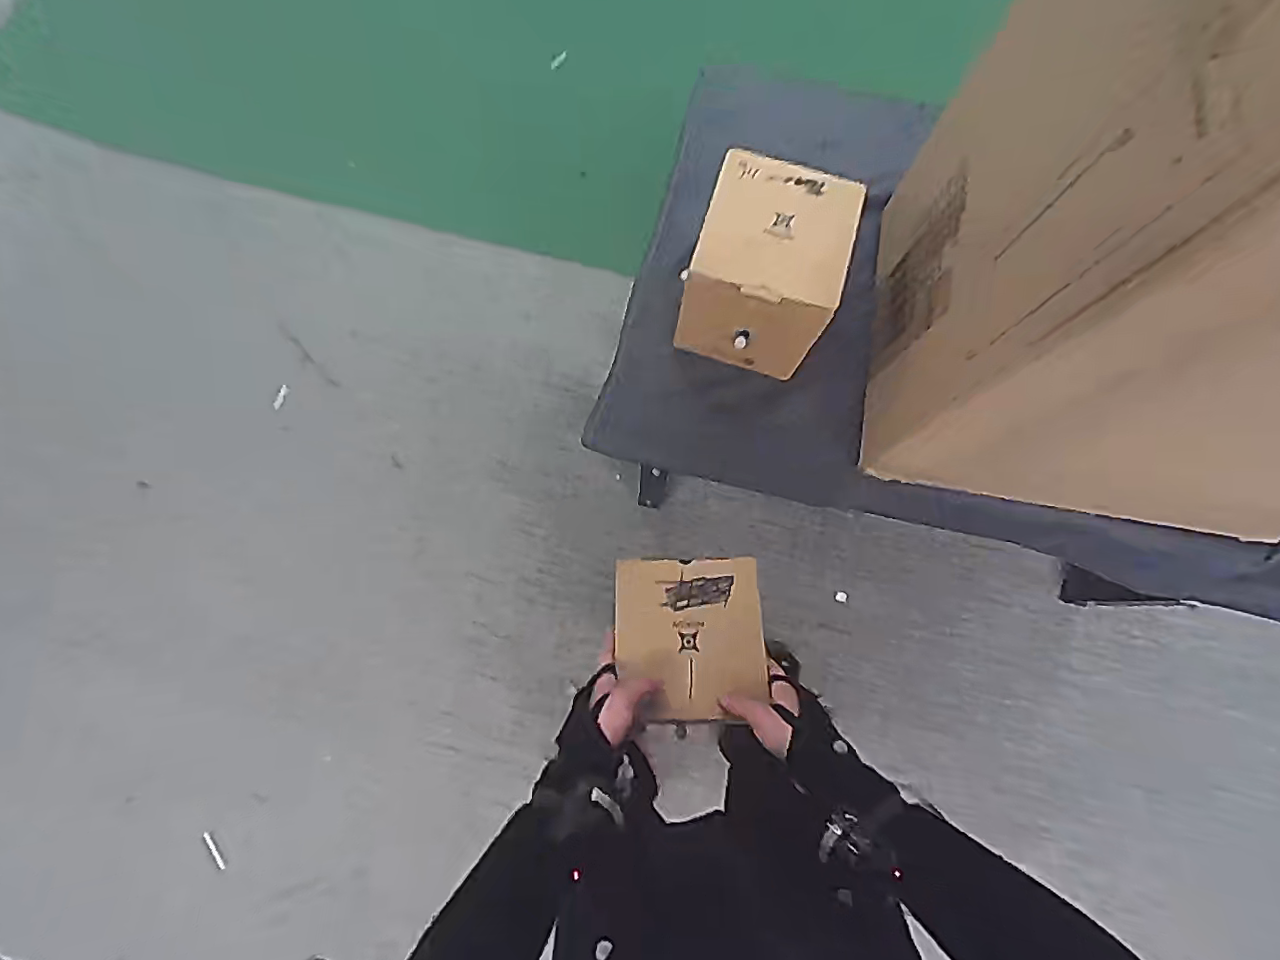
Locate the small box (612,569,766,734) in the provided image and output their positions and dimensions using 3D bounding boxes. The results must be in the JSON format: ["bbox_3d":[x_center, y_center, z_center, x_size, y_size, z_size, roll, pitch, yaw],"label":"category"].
[{"bbox_3d":[0.055,0.219,0.677,0.168,0.176,0.179,0,65,2],"label":"small box"}]
